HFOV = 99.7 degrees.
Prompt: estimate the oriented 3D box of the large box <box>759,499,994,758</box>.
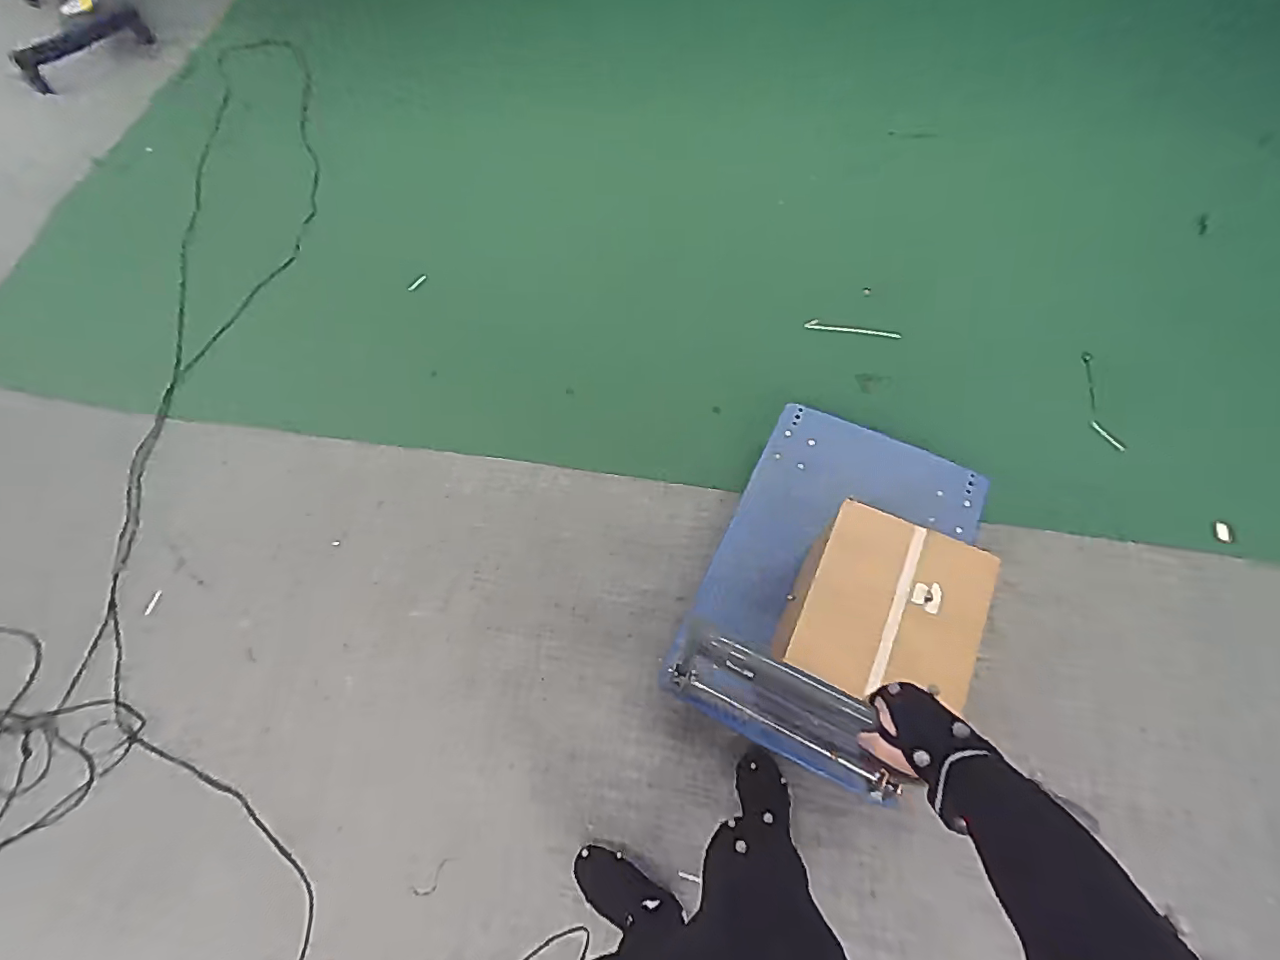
[{"bbox_3d":[0.483,0.321,1.158,0.320,0.320,0.408,23,69,13],"label":"large box"}]
